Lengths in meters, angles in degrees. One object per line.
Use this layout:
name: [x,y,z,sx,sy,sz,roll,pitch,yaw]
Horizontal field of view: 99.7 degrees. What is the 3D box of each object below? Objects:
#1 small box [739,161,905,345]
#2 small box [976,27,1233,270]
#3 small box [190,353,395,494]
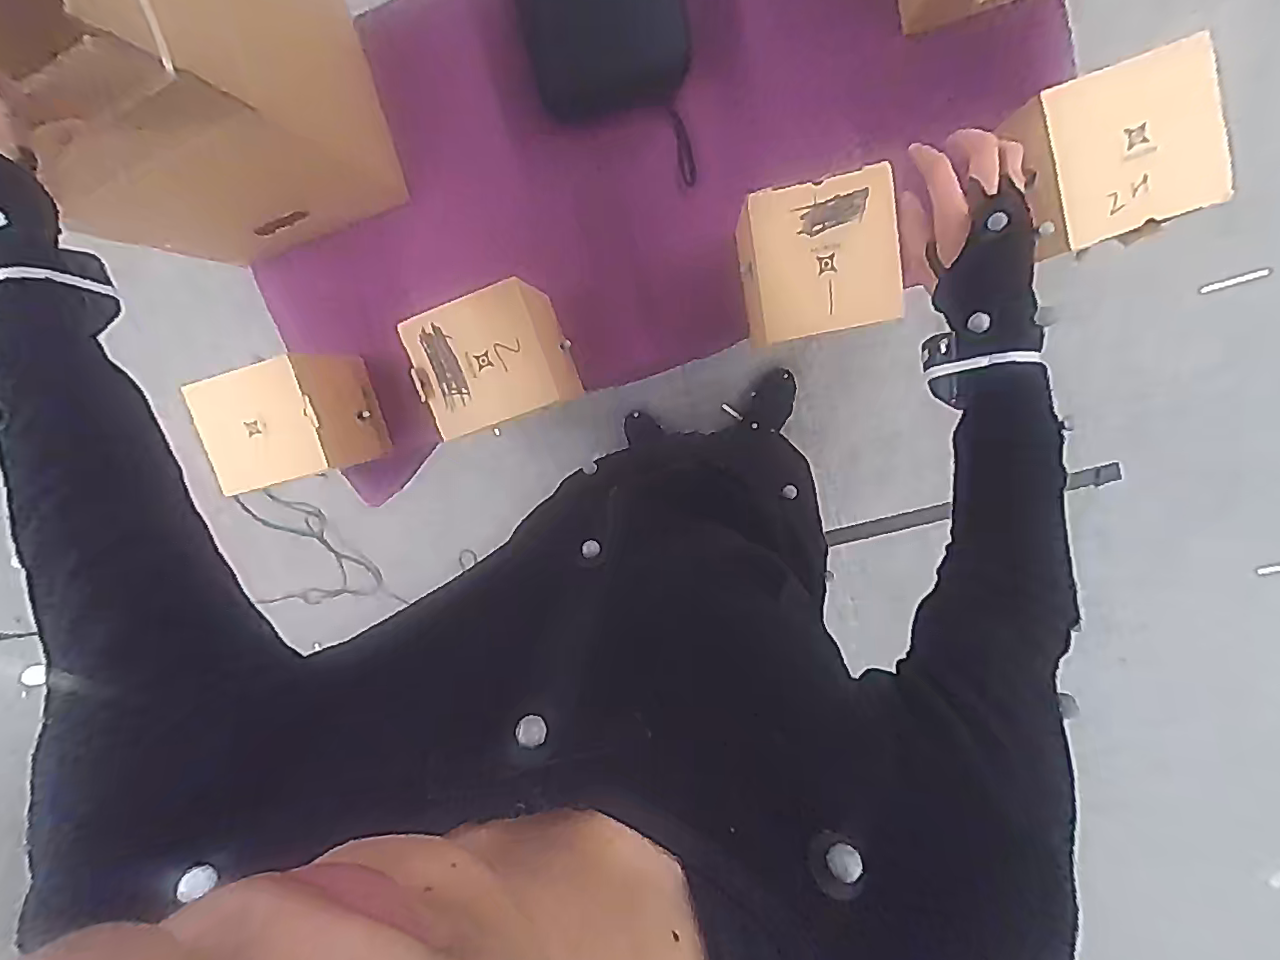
small box: [0.229,-0.283,0.715,0.168,0.176,0.179,-10,102,8]
small box: [0.543,-0.380,0.658,0.168,0.176,0.179,-16,99,10]
small box: [-0.521,-0.090,0.836,0.179,0.176,0.168,-15,99,8]
